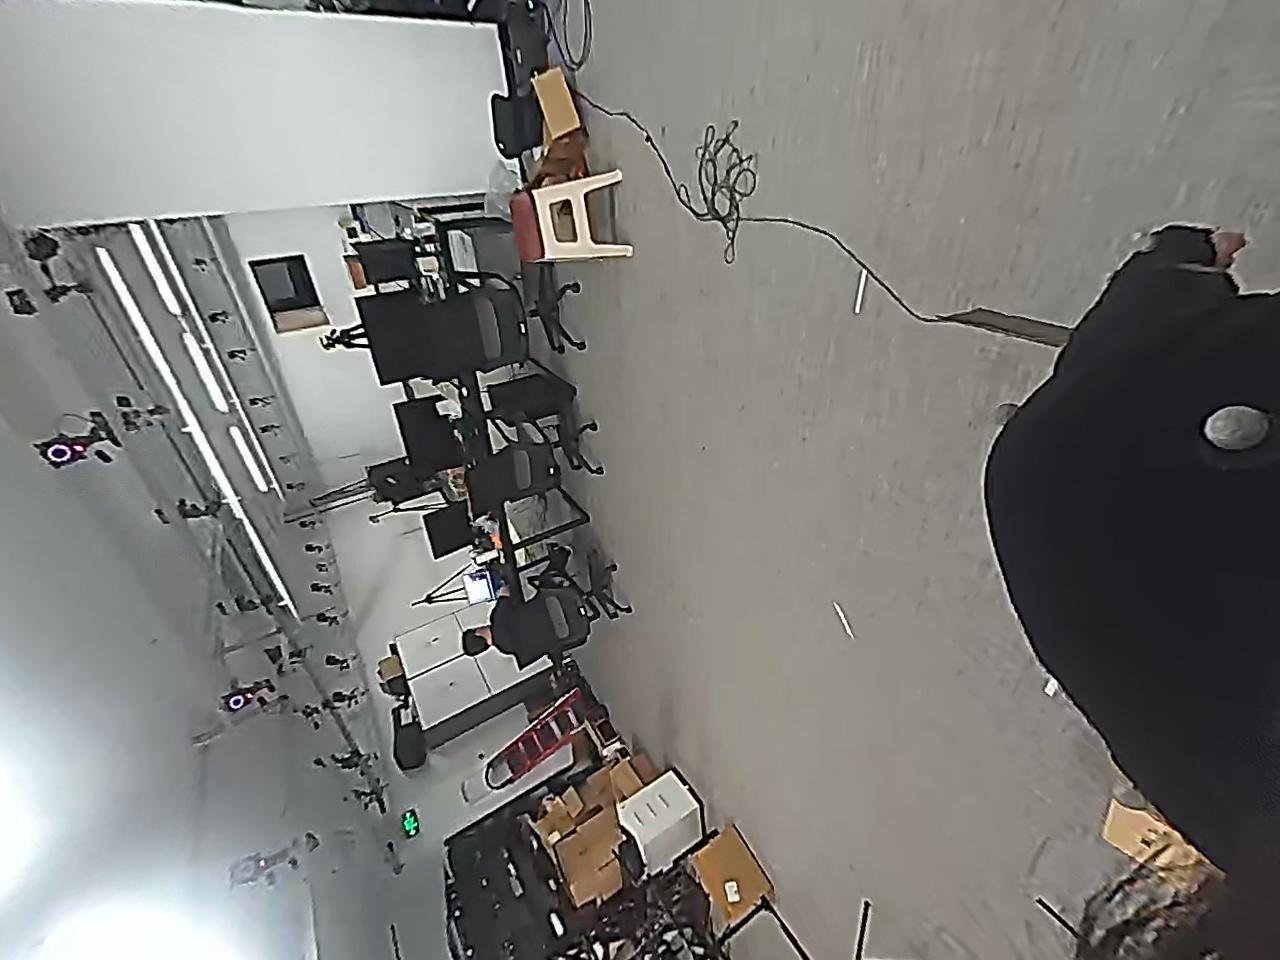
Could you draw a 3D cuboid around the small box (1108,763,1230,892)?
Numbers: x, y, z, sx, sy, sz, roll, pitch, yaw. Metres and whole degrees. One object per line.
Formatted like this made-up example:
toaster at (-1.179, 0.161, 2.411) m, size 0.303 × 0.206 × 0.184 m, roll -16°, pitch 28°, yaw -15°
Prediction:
small box at (1.331, 0.867, 1.363) m, size 0.168 × 0.176 × 0.179 m, roll 26°, pitch 131°, yaw 54°
